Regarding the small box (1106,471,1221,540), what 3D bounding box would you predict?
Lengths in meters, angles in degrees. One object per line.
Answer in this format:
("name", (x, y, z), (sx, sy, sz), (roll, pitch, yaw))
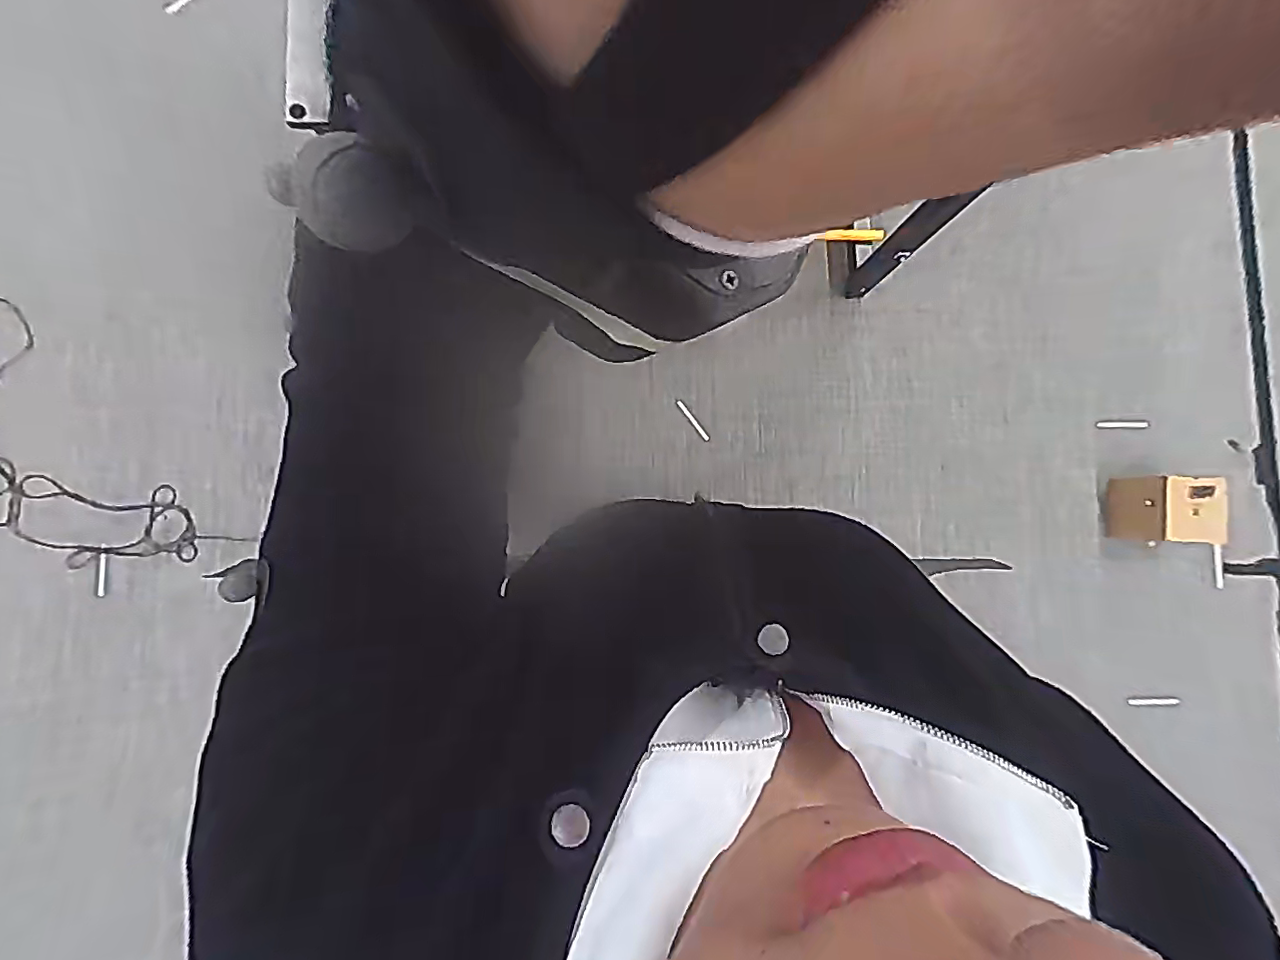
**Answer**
("small box", (1.444, 0.072, 1.501), (0.168, 0.176, 0.179), (3, 88, -2))
